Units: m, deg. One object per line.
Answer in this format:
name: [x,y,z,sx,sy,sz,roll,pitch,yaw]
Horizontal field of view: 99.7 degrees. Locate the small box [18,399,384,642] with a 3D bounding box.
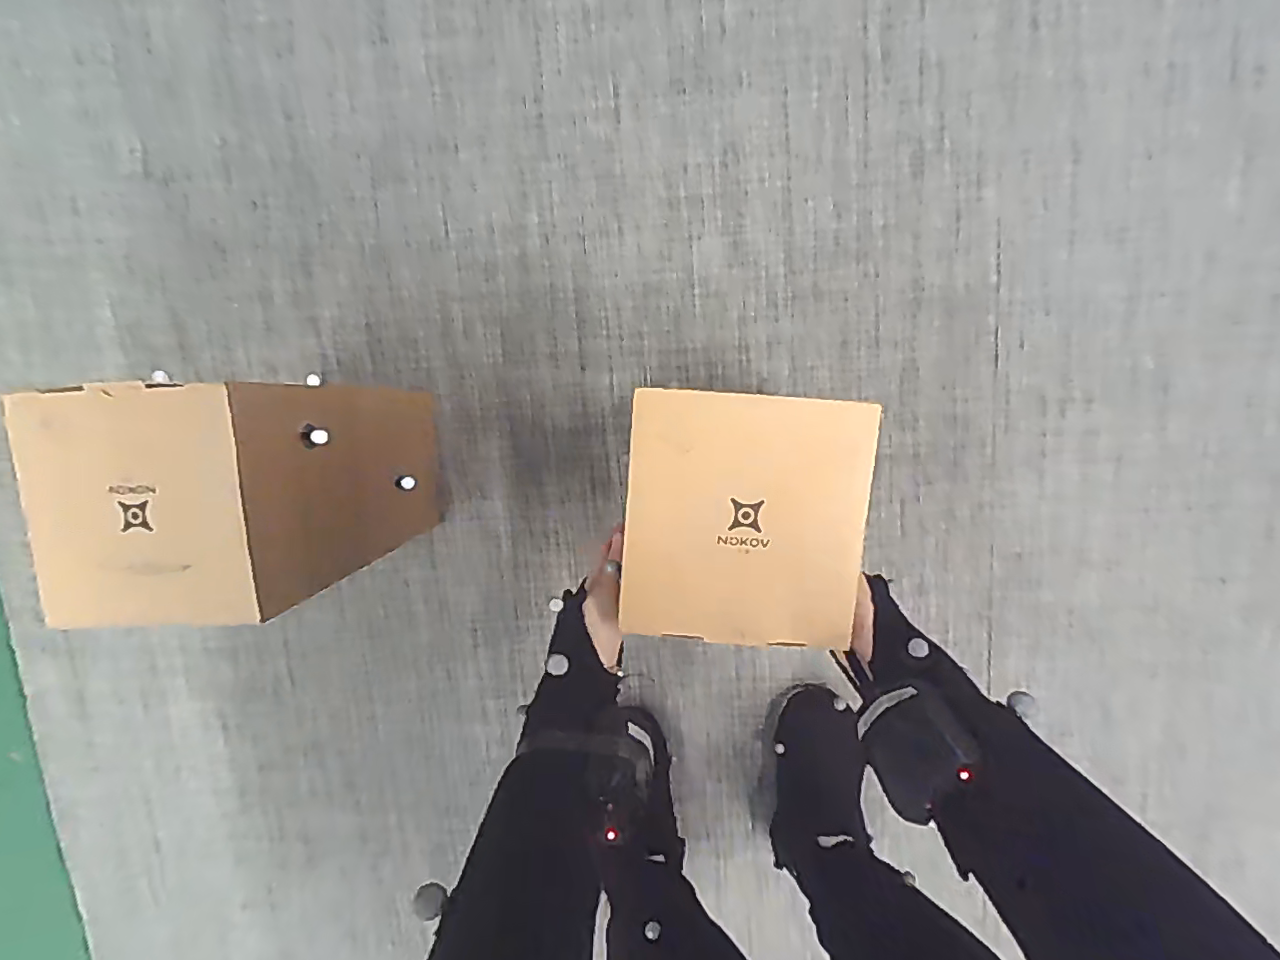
small box: [-0.348,0.021,0.467,0.168,0.176,0.179,-2,99,4]

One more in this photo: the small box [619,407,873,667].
small box: [0.070,0.032,0.454,0.168,0.176,0.179,4,100,-2]
